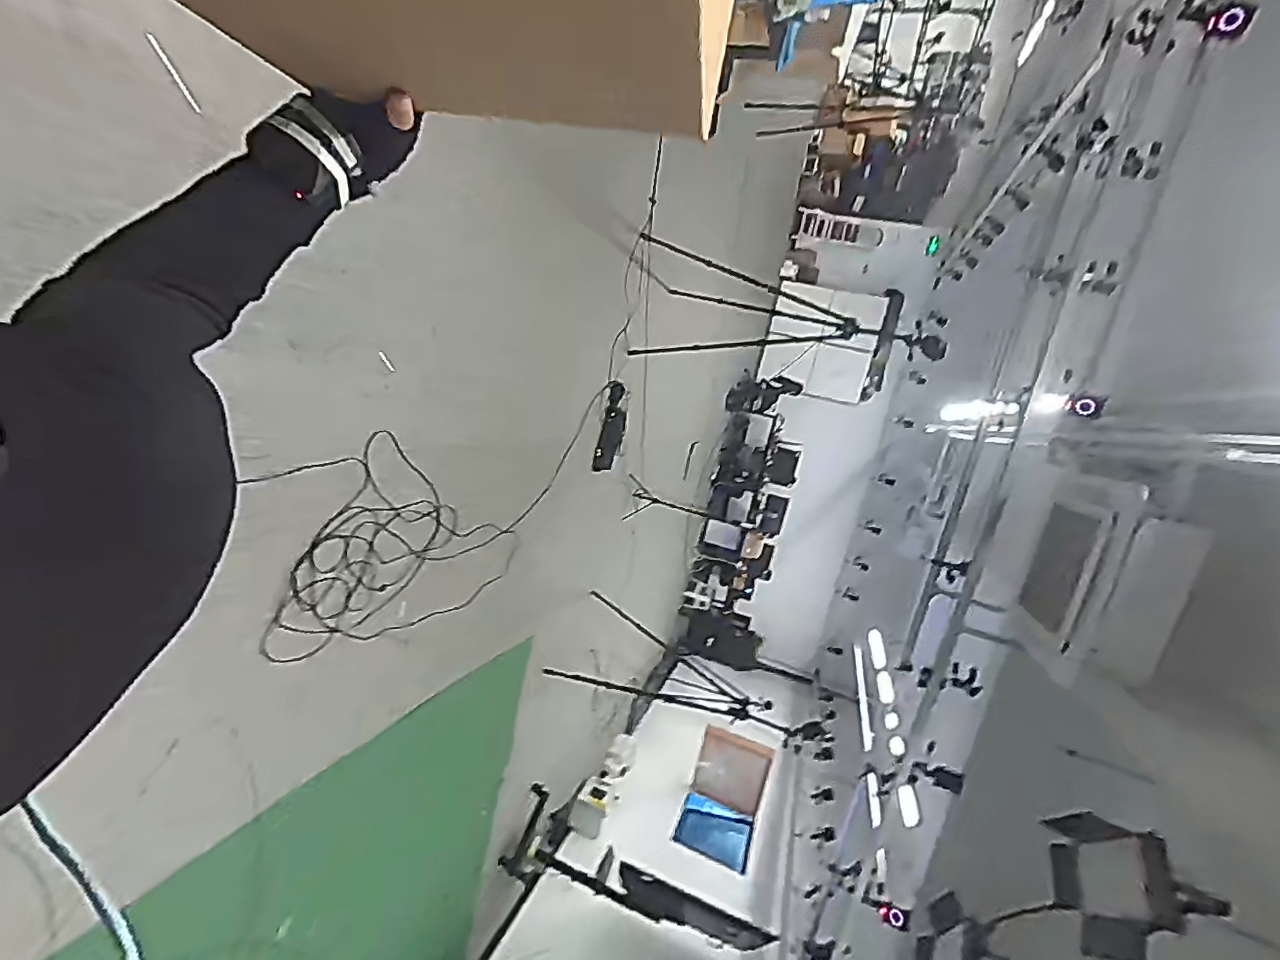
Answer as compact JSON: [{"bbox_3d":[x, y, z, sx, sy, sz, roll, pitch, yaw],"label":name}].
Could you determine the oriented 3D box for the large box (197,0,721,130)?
[{"bbox_3d":[-0.106,-0.388,0.203,0.408,0.320,0.320,-70,169,-75],"label":"large box"}]
